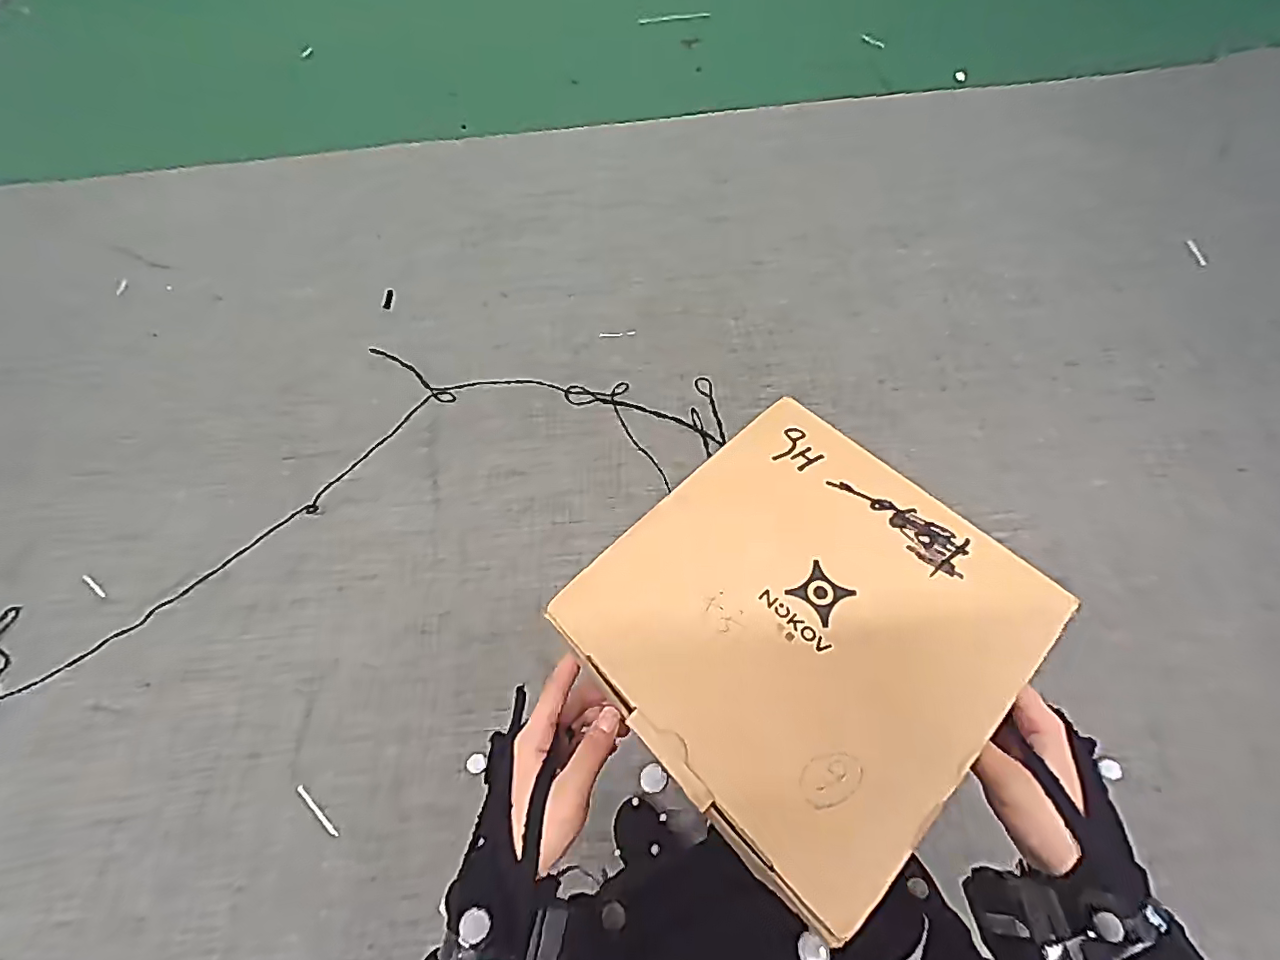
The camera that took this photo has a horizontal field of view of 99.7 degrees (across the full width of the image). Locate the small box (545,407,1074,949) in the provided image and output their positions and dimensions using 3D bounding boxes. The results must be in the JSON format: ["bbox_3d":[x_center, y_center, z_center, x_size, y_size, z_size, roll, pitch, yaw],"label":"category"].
[{"bbox_3d":[0.077,0.100,0.309,0.179,0.176,0.168,-40,65,-17],"label":"small box"}]
